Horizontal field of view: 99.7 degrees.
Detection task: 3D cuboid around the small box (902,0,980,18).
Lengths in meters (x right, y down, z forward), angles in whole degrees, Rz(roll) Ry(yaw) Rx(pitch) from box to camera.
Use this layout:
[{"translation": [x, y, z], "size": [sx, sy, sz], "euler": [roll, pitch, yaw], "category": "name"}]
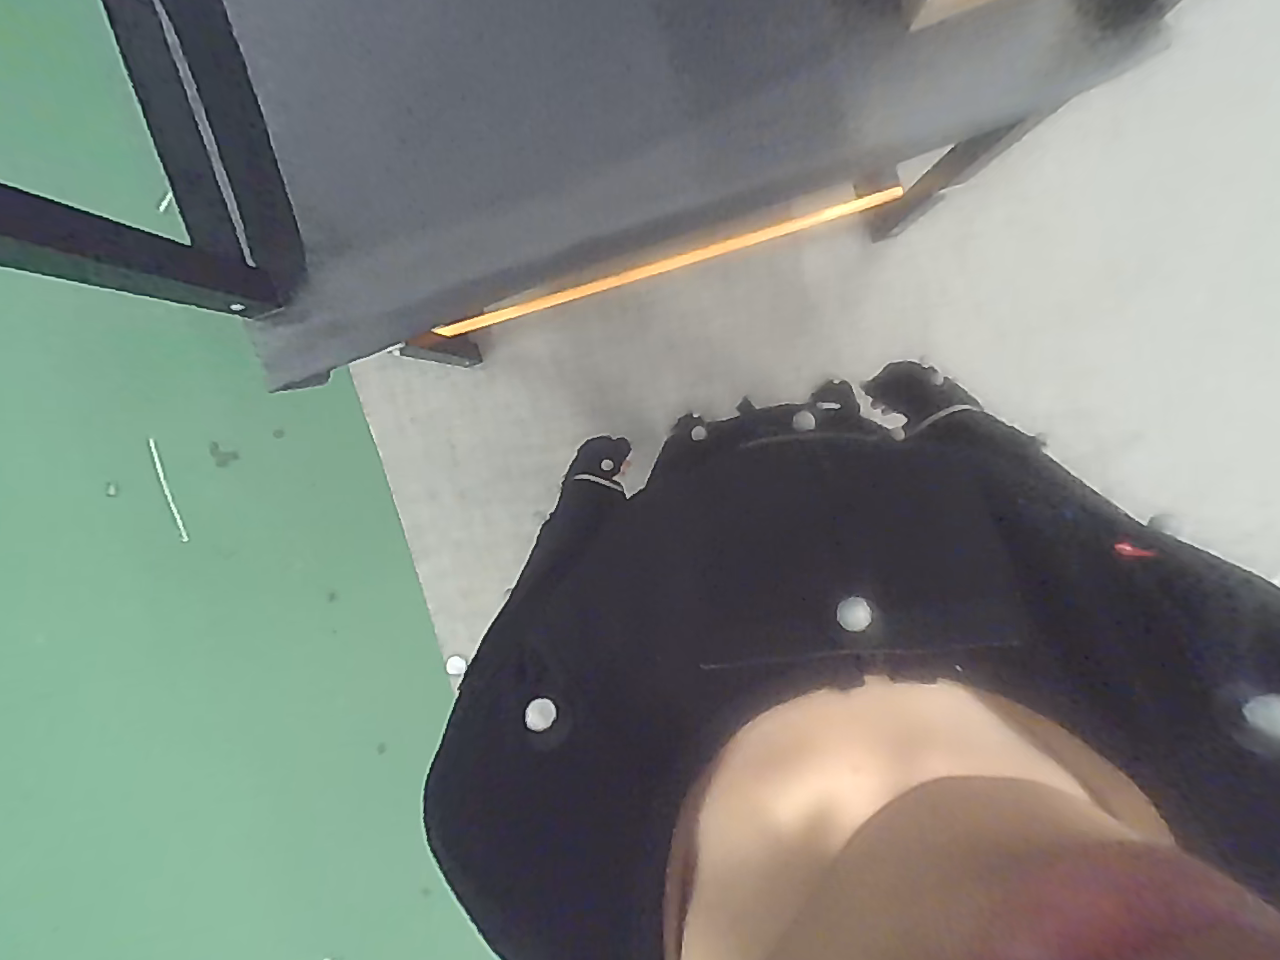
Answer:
[{"translation": [0.370, -0.633, 0.557], "size": [0.168, 0.176, 0.179], "euler": [-17, 95, 6], "category": "small box"}]
